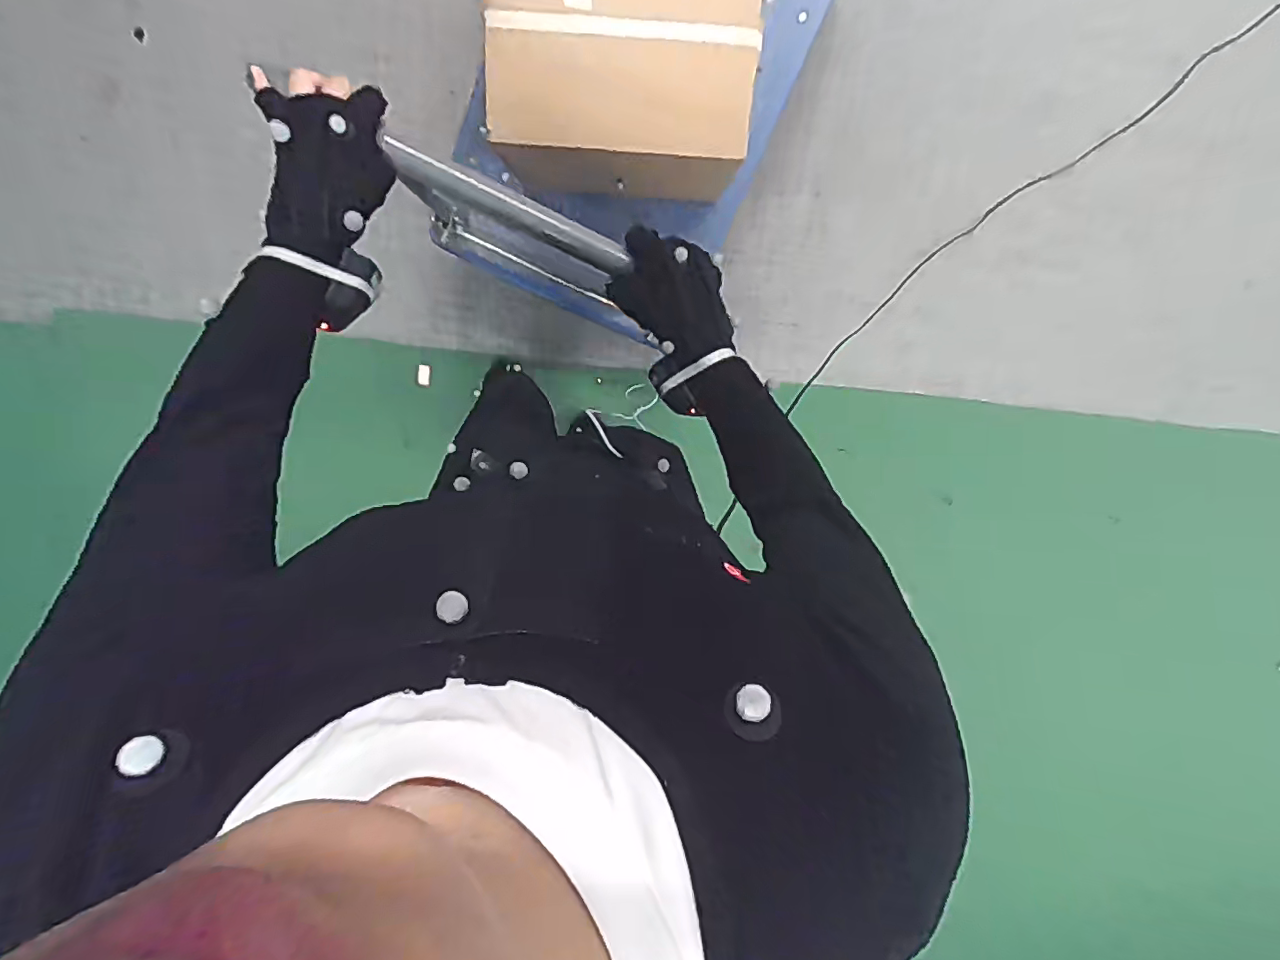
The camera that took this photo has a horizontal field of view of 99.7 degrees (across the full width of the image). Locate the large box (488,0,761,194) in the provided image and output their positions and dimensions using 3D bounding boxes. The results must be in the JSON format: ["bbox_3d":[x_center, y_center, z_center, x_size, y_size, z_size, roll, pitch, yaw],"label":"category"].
[{"bbox_3d":[-0.024,-0.703,0.935,0.408,0.320,0.320,4,106,-1],"label":"large box"}]
